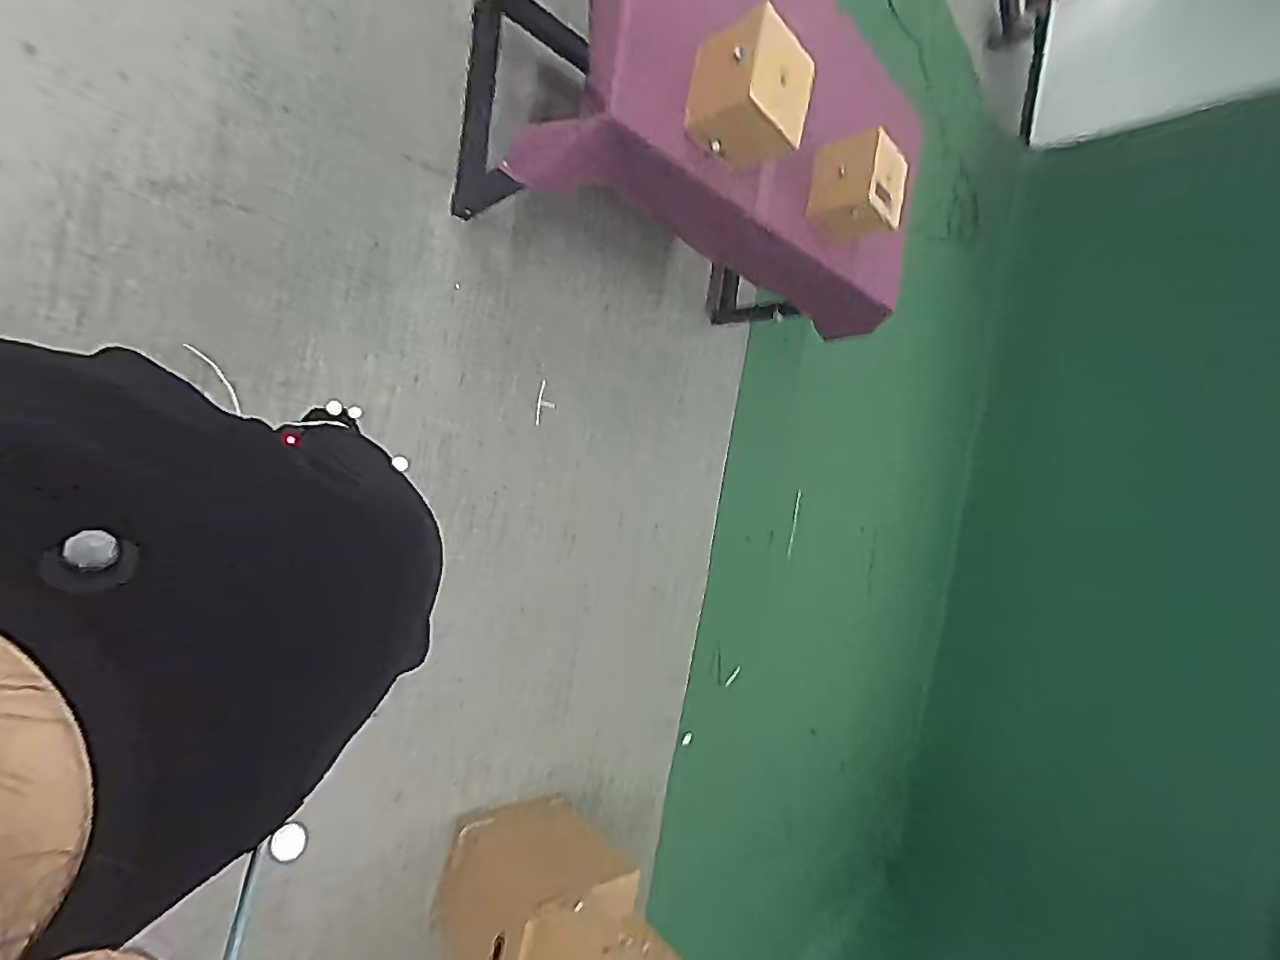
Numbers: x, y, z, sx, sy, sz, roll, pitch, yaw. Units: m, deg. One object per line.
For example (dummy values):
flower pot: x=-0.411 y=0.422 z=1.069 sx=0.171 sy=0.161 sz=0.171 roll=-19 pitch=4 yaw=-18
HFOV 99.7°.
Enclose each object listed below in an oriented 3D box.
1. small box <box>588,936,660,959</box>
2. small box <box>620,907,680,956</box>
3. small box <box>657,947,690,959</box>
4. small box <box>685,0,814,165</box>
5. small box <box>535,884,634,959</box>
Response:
small box: x=-0.039 y=1.224 z=1.270 sx=0.168 sy=0.176 sz=0.179 roll=24 pitch=83 yaw=-41
small box: x=-0.019 y=1.373 z=1.535 sx=0.179 sy=0.176 sz=0.168 roll=15 pitch=87 yaw=-42
small box: x=0.087 y=1.389 z=1.409 sx=0.168 sy=0.176 sz=0.179 roll=20 pitch=84 yaw=-42
small box: x=0.207 y=-0.755 z=1.043 sx=0.168 sy=0.176 sz=0.179 roll=12 pitch=89 yaw=-42
small box: x=-0.148 y=1.199 z=1.392 sx=0.168 sy=0.176 sz=0.179 roll=19 pitch=86 yaw=-42
